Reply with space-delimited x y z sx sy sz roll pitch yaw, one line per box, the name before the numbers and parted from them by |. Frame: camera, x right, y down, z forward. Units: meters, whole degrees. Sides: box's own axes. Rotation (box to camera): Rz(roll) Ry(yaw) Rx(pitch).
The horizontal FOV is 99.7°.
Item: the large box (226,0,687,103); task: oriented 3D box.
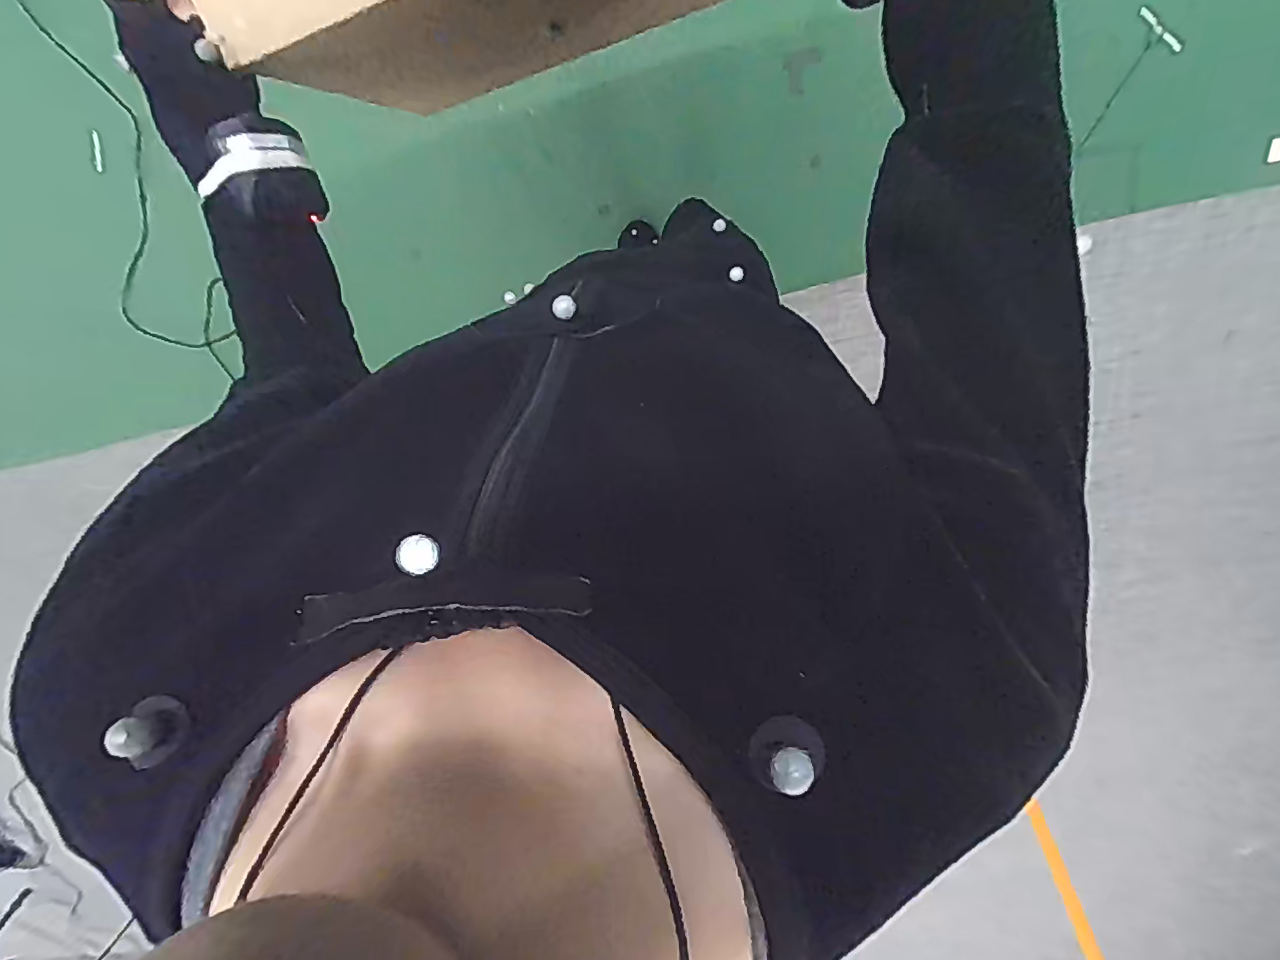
large box | -0.112 -0.538 0.403 0.408 0.320 0.320 -12 117 13
